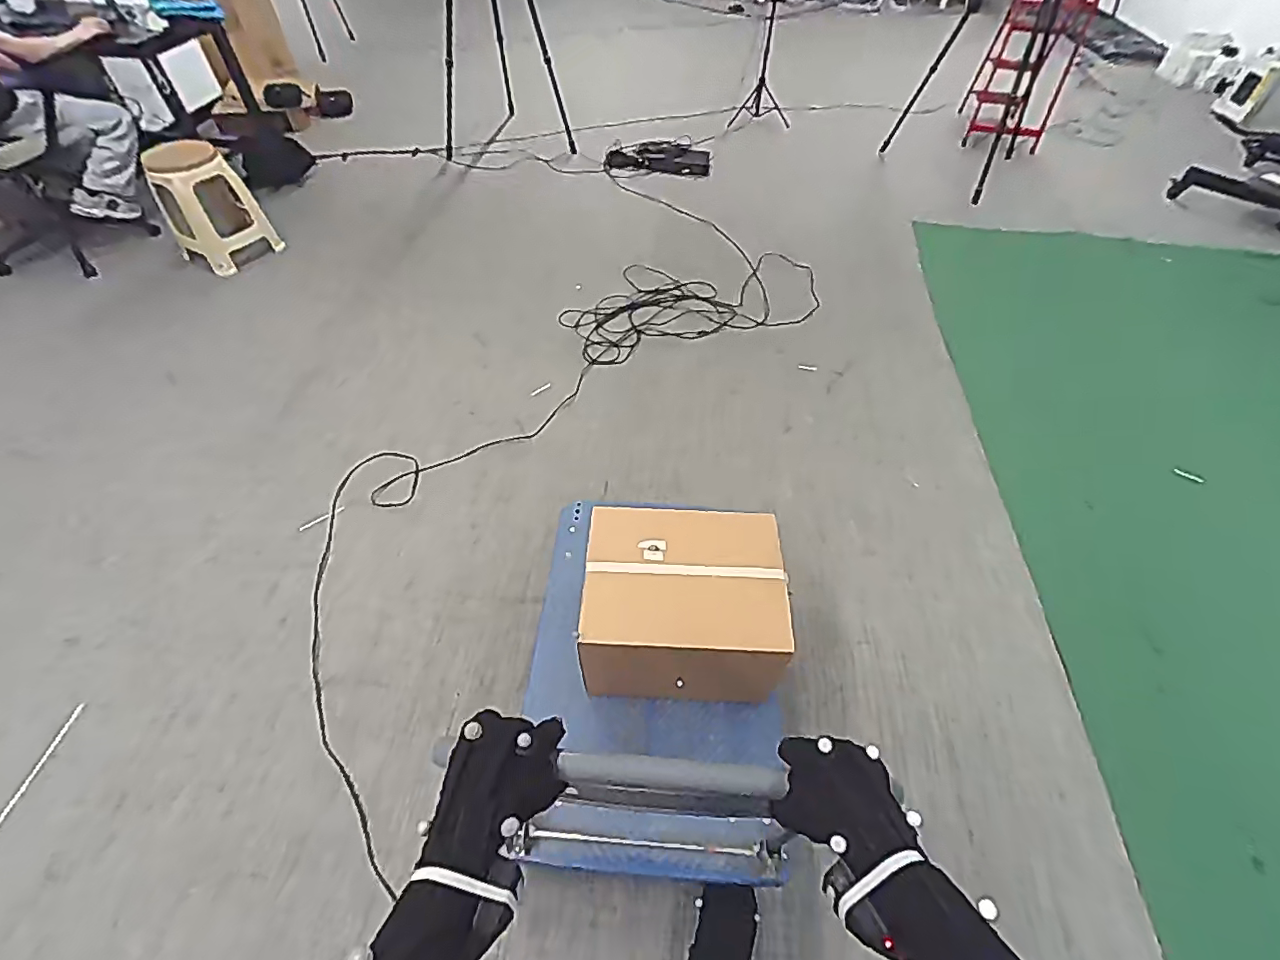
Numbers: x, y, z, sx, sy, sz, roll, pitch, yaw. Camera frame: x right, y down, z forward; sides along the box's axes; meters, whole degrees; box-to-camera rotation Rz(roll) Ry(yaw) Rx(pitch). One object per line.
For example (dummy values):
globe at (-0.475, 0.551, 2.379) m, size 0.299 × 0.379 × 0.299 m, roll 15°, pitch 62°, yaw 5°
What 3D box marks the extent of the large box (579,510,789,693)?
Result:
large box at (0.090, 0.280, 1.223) m, size 0.408 × 0.320 × 0.320 m, roll 1°, pitch 51°, yaw 2°
